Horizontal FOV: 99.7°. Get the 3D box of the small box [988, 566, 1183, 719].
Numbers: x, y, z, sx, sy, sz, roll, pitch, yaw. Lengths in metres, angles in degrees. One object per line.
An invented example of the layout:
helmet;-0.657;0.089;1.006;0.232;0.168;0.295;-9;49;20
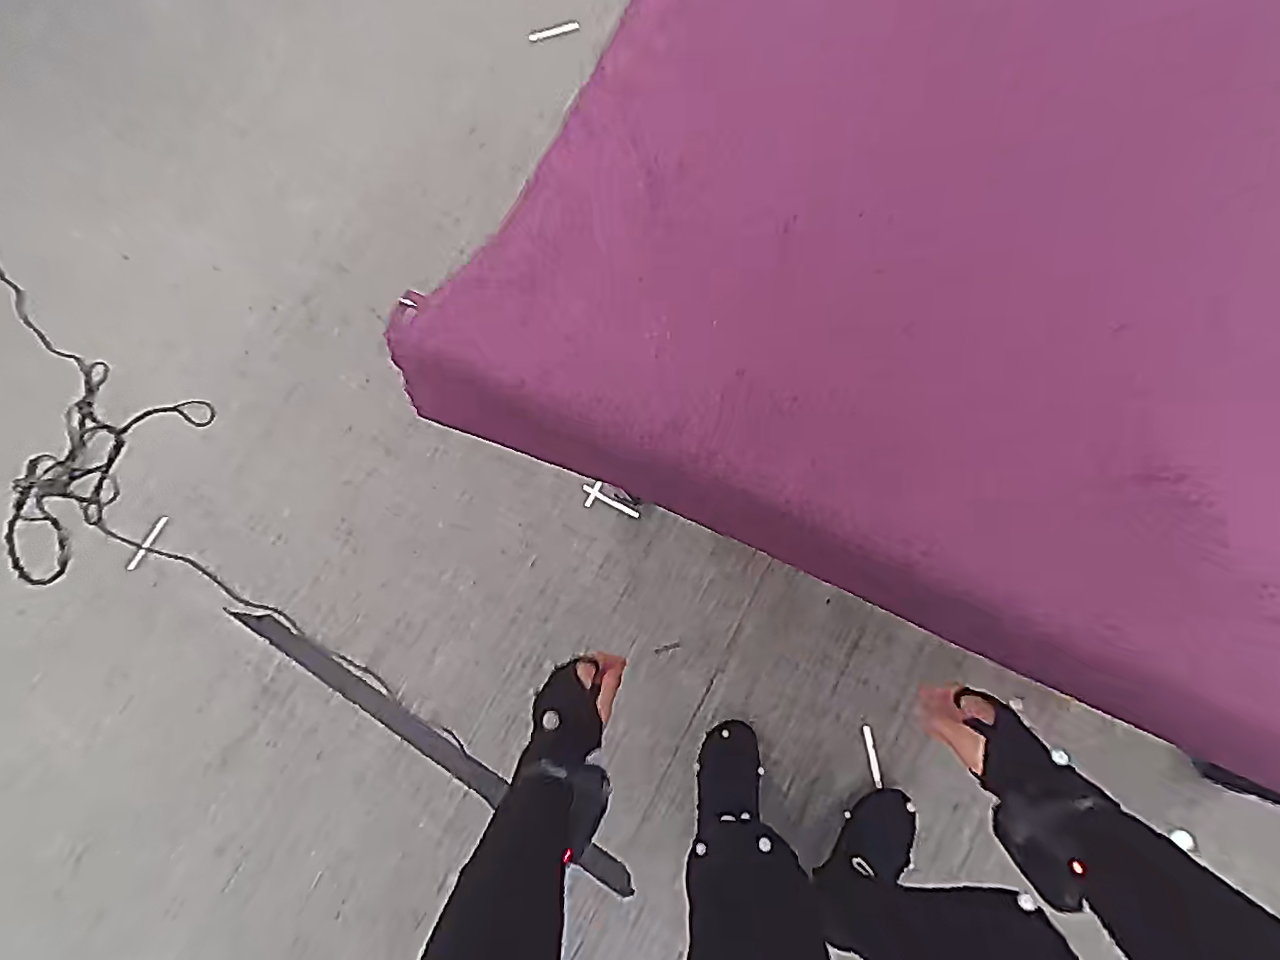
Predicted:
small box;0.733;0.266;0.915;0.168;0.176;0.179;30;83;12
